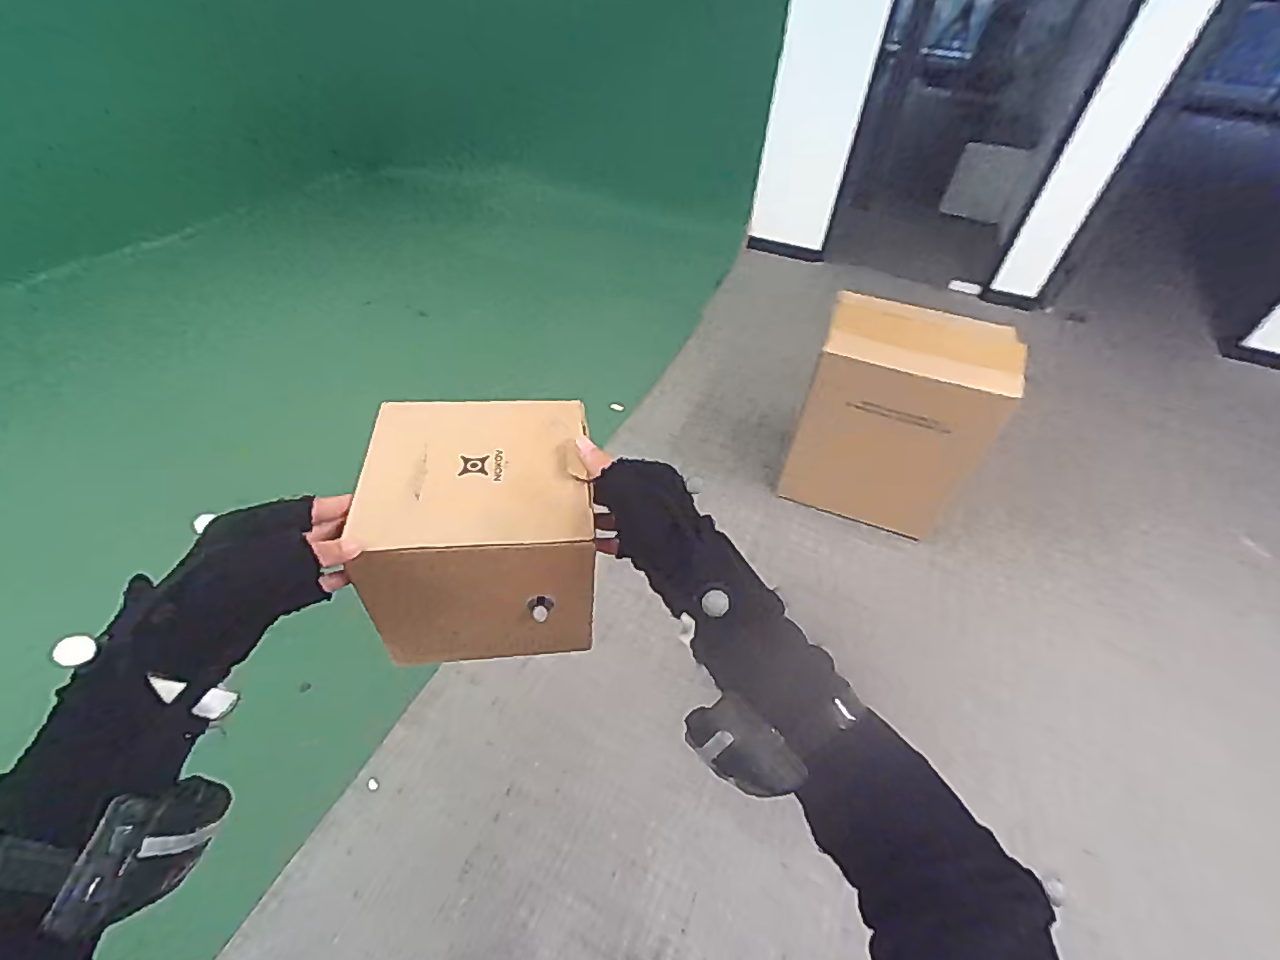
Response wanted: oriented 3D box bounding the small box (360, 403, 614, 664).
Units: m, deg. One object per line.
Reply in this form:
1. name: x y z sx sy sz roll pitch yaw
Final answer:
1. small box: -0.121 0.048 0.489 0.179 0.176 0.168 -3 45 -9
